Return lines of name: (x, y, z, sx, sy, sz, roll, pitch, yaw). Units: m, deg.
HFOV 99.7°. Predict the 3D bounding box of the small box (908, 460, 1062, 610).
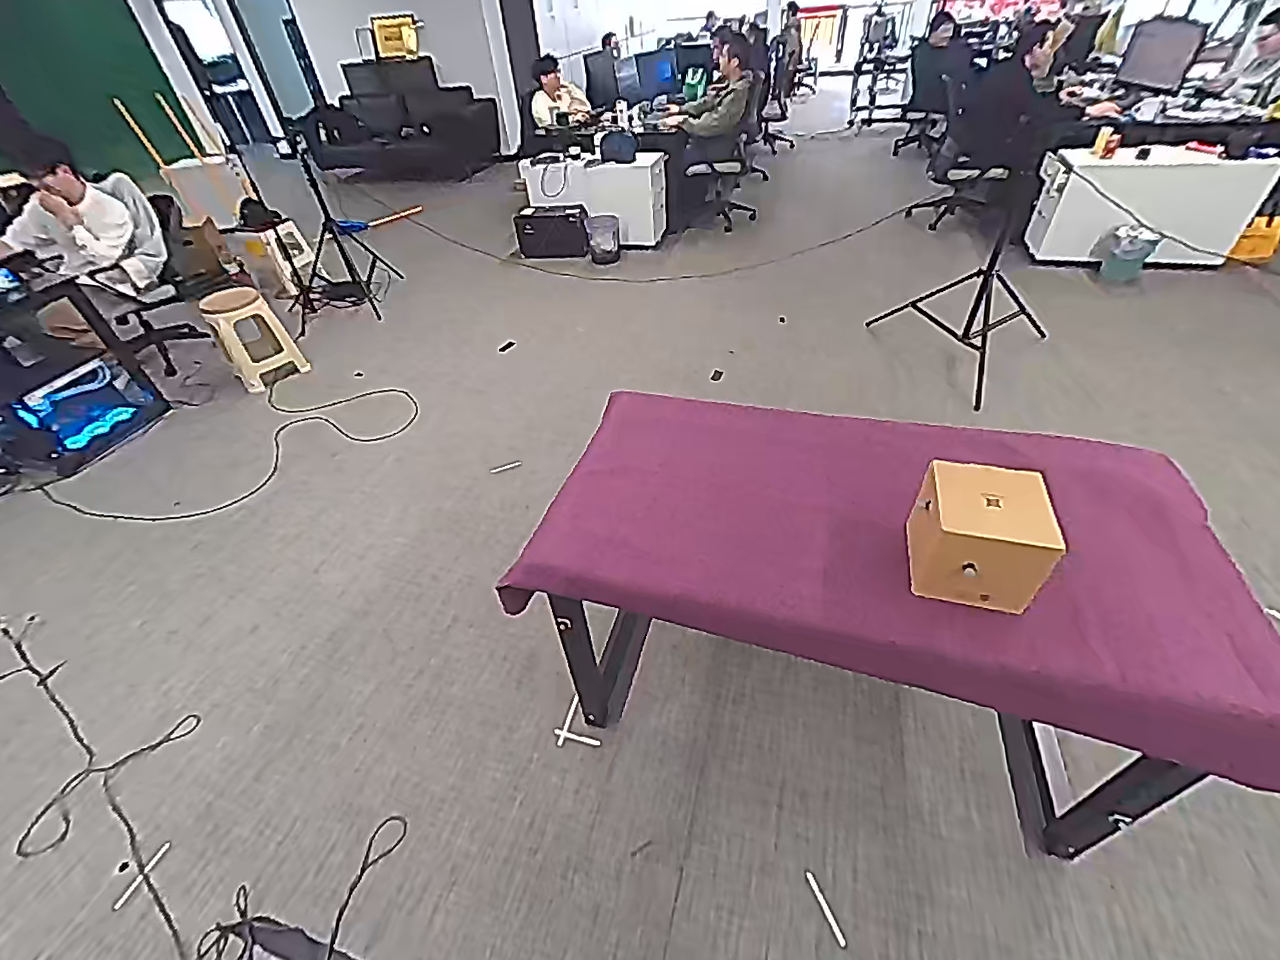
small box: (0.562, 0.092, 0.909, 0.168, 0.176, 0.179, 9, 43, 15)
